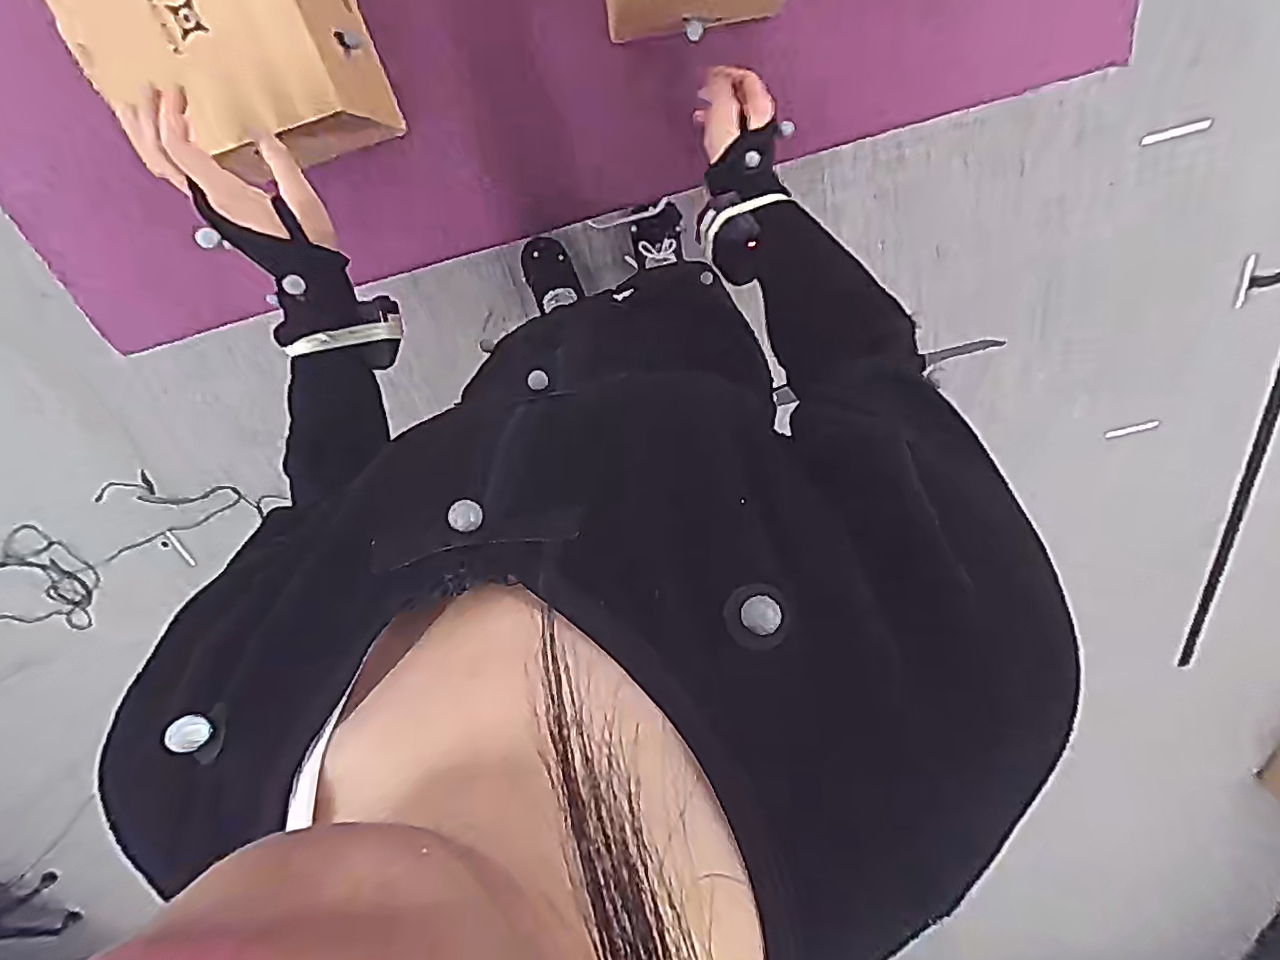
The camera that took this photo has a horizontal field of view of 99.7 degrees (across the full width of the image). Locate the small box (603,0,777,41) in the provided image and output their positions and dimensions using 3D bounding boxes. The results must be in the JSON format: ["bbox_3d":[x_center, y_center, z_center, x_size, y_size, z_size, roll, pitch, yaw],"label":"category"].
[{"bbox_3d":[0.040,-0.492,0.434,0.168,0.176,0.179,-9,119,2],"label":"small box"}]

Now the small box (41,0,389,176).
[{"bbox_3d":[-0.348,-0.382,0.472,0.179,0.176,0.168,-15,118,5],"label":"small box"}]
